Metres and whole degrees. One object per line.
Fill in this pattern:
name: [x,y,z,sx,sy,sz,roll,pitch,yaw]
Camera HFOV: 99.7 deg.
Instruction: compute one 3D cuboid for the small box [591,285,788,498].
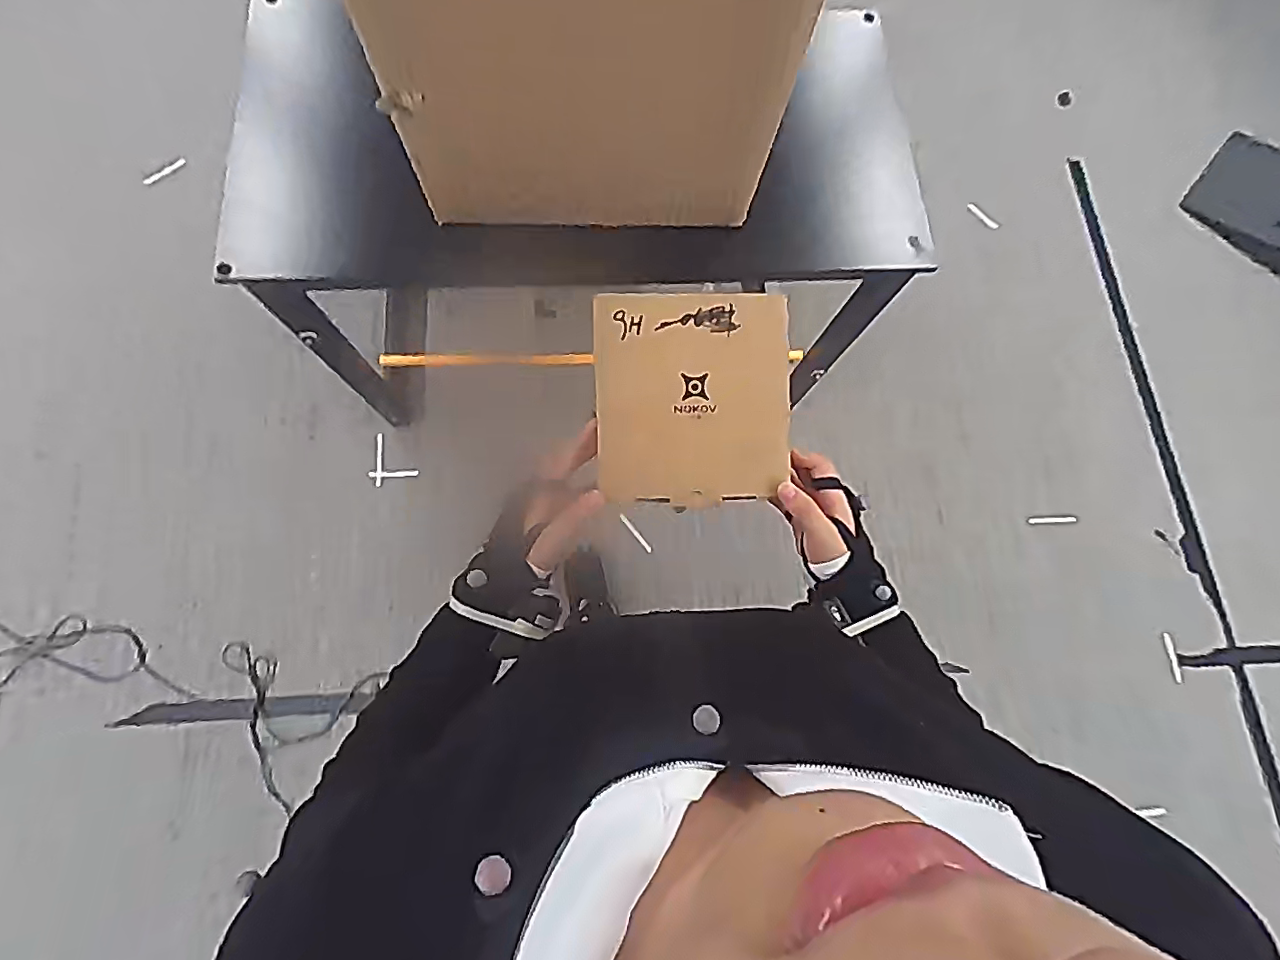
small box: [0.037,-0.078,0.531,0.168,0.176,0.179,-1,93,-5]
